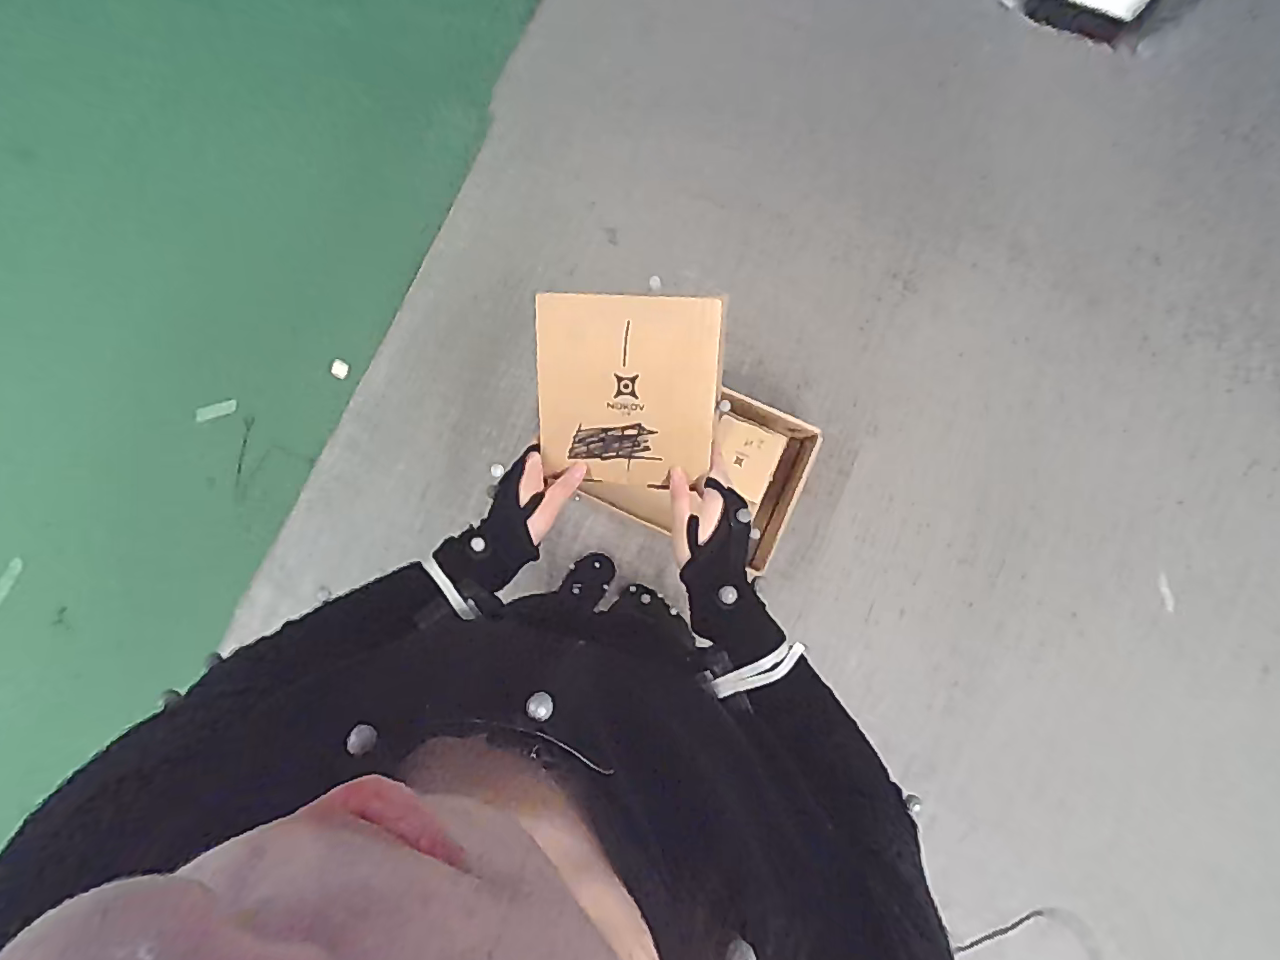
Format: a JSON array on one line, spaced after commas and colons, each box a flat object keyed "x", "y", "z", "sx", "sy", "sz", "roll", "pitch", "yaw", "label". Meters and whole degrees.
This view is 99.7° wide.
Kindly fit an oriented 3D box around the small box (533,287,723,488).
[{"x": -0.002, "y": -0.107, "z": 0.566, "sx": 0.168, "sy": 0.176, "sz": 0.179, "roll": 4, "pitch": 110, "yaw": 9, "label": "small box"}]

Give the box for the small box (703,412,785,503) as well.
[{"x": 0.248, "y": -0.049, "z": 1.396, "sx": 0.168, "sy": 0.176, "sz": 0.179, "roll": 25, "pitch": 86, "yaw": 3, "label": "small box"}]
